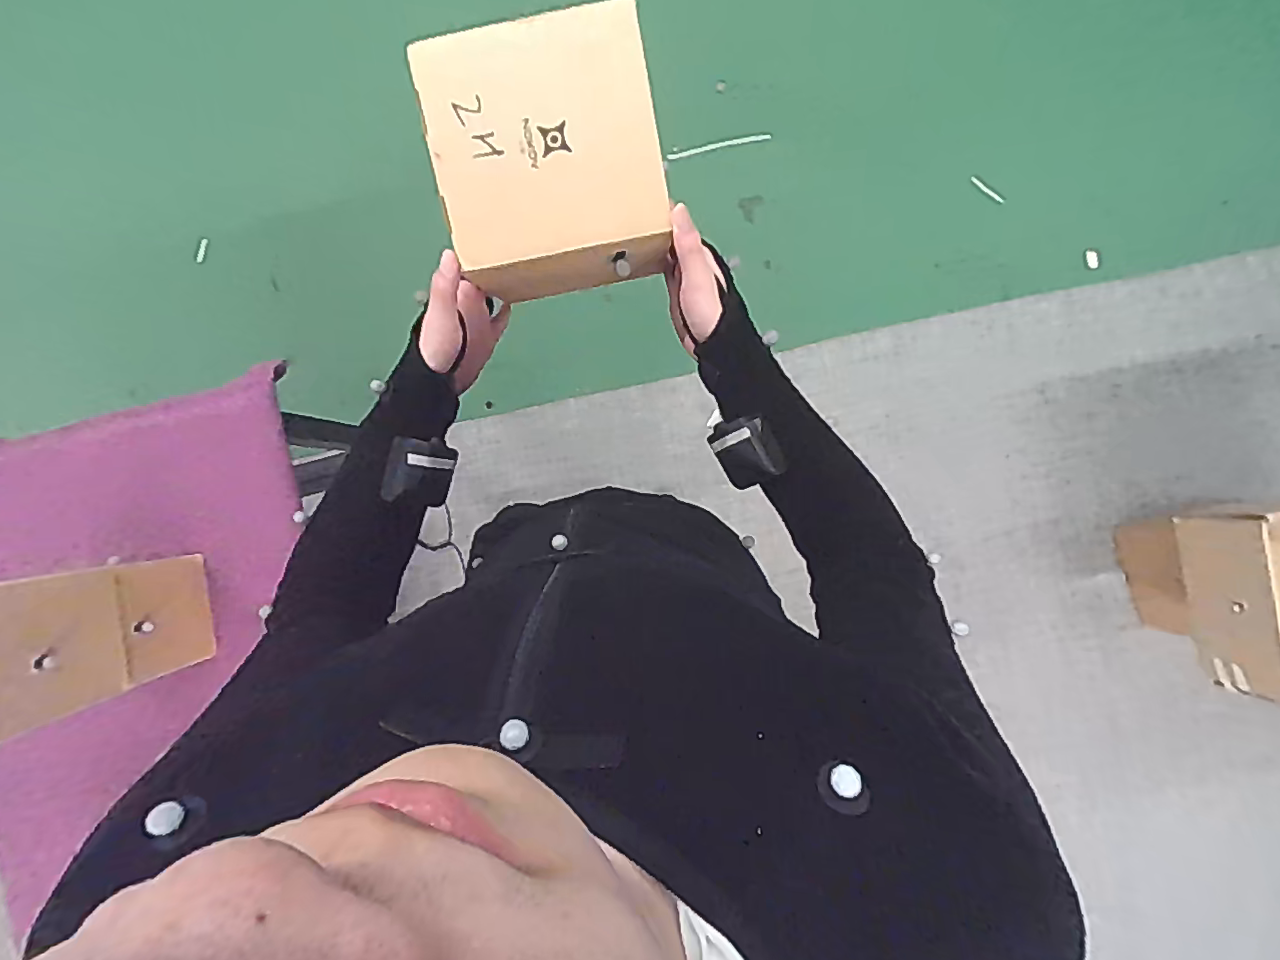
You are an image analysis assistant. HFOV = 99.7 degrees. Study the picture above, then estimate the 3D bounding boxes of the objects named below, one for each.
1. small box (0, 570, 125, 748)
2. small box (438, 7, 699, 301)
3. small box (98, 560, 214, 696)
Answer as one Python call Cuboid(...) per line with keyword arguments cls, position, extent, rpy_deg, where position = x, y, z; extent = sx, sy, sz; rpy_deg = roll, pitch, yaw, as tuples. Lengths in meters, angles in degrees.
Cuboid(cls="small box", position=(-0.789, 0.220, 0.660), extent=(0.168, 0.176, 0.179), rpy_deg=(-8, 91, -1))
Cuboid(cls="small box", position=(-0.054, -0.270, 0.490), extent=(0.179, 0.176, 0.168), rpy_deg=(-10, 100, 1))
Cuboid(cls="small box", position=(-0.801, 0.222, 0.824), extent=(0.168, 0.176, 0.179), rpy_deg=(-9, 91, -1))
